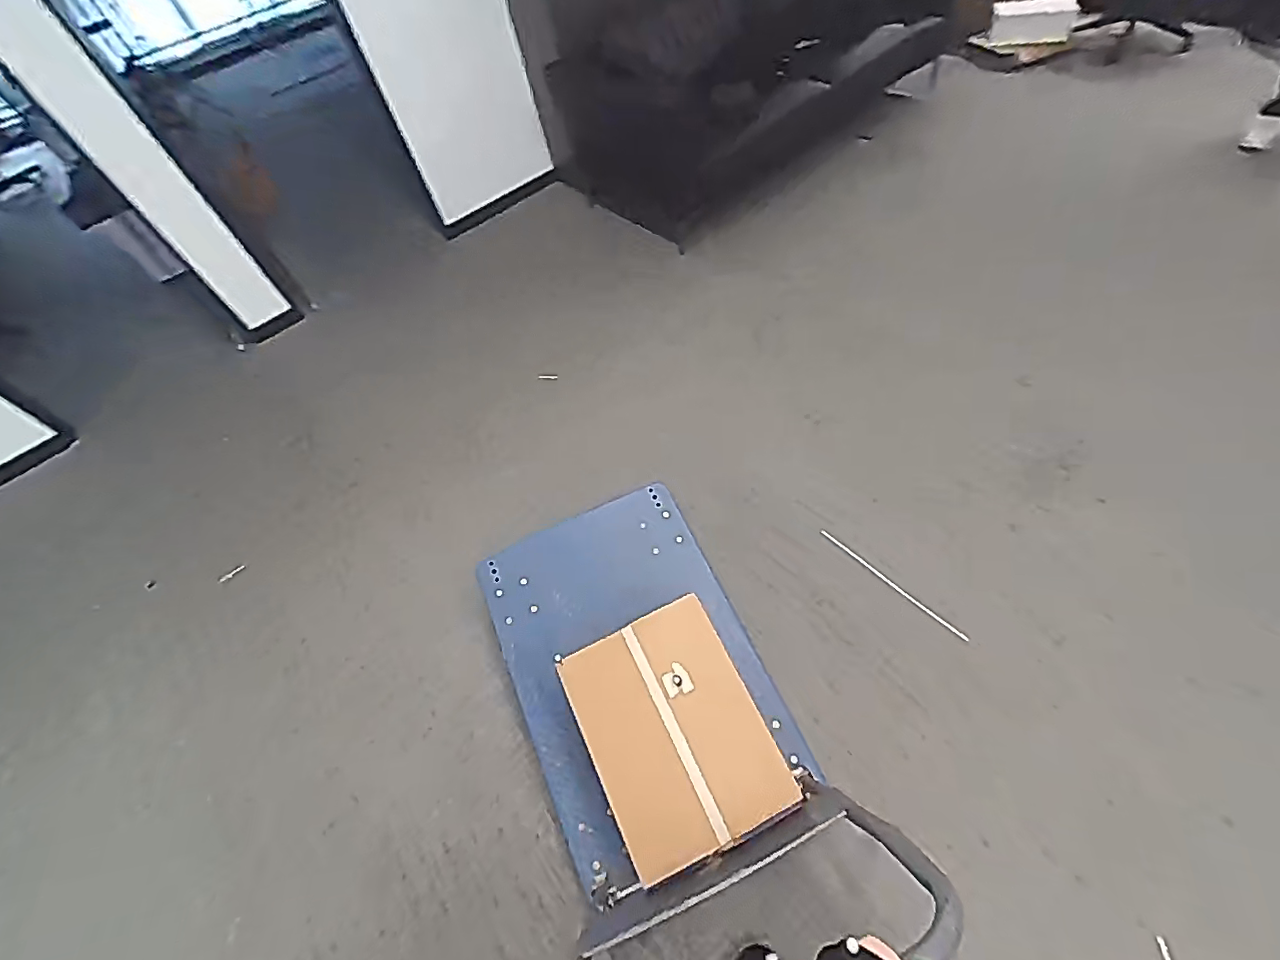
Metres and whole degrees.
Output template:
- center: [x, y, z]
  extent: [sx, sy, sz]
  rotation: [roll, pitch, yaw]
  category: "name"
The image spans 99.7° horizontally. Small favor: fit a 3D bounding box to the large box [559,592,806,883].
- center: [0.080, 0.508, 1.122]
  extent: [0.320, 0.320, 0.408]
  rotation: [-26, 65, -7]
  category: "large box"
